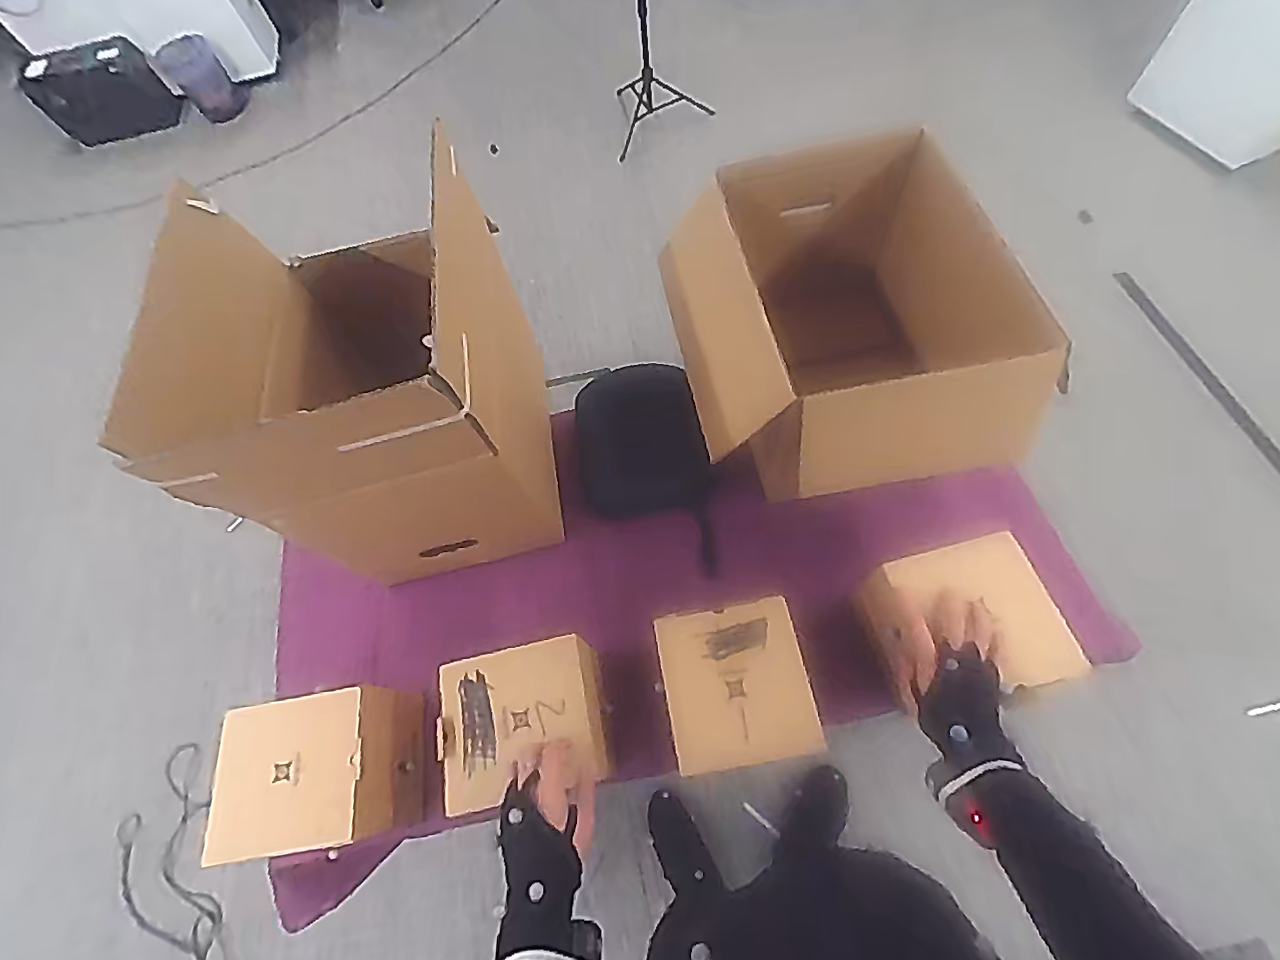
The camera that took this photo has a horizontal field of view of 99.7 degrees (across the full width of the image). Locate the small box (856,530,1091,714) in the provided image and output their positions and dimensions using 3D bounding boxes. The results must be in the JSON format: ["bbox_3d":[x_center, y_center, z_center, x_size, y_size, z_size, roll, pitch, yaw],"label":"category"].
[{"bbox_3d":[0.404,0.189,0.699,0.168,0.176,0.179,-16,64,0],"label":"small box"}]
